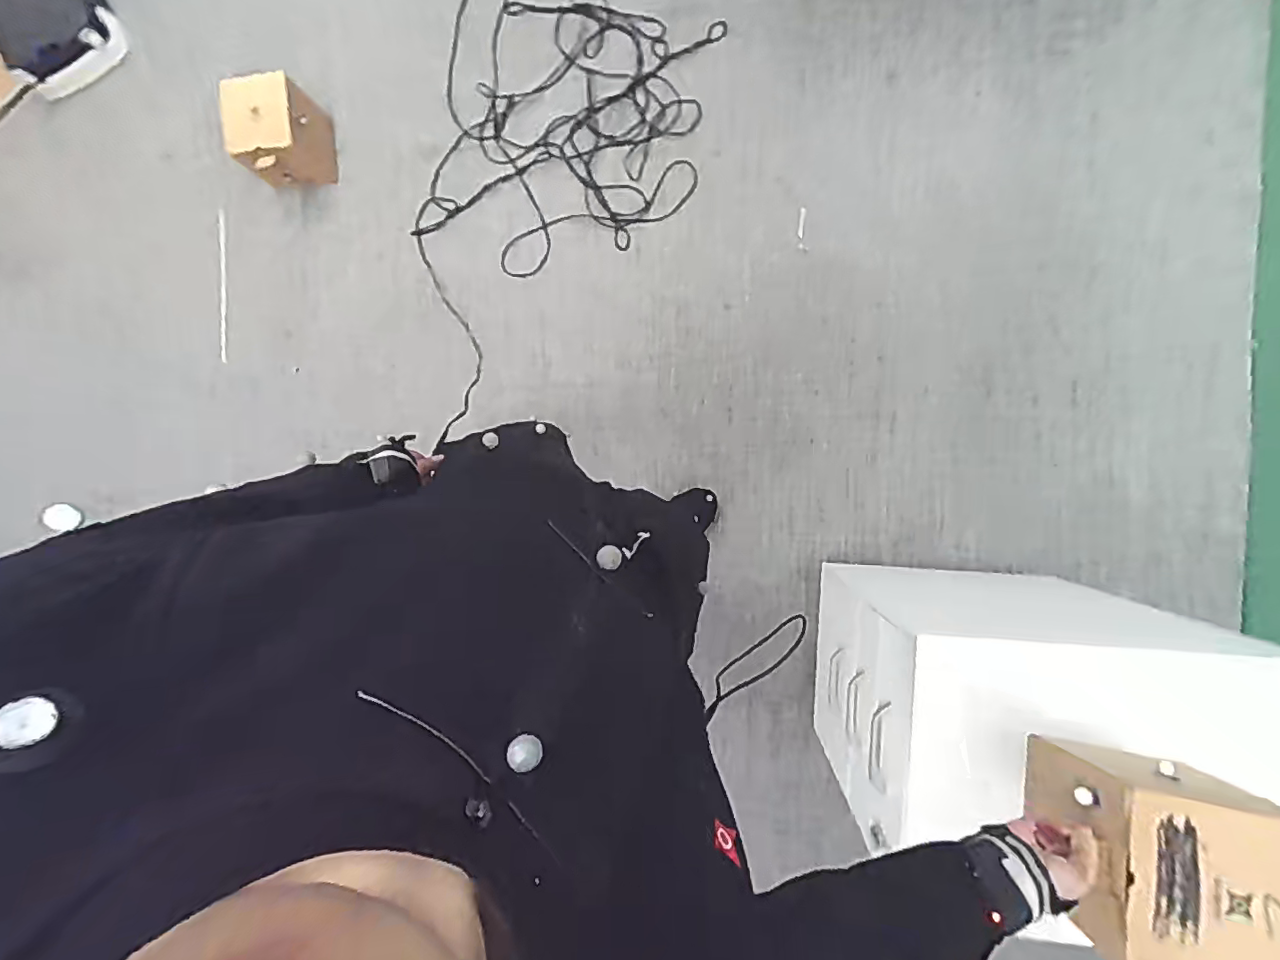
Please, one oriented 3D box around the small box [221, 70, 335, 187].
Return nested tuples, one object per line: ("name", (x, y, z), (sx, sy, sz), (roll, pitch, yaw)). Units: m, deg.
("small box", (-0.885, -0.858, 1.335), (0.168, 0.176, 0.179), (-4, 92, 5))
